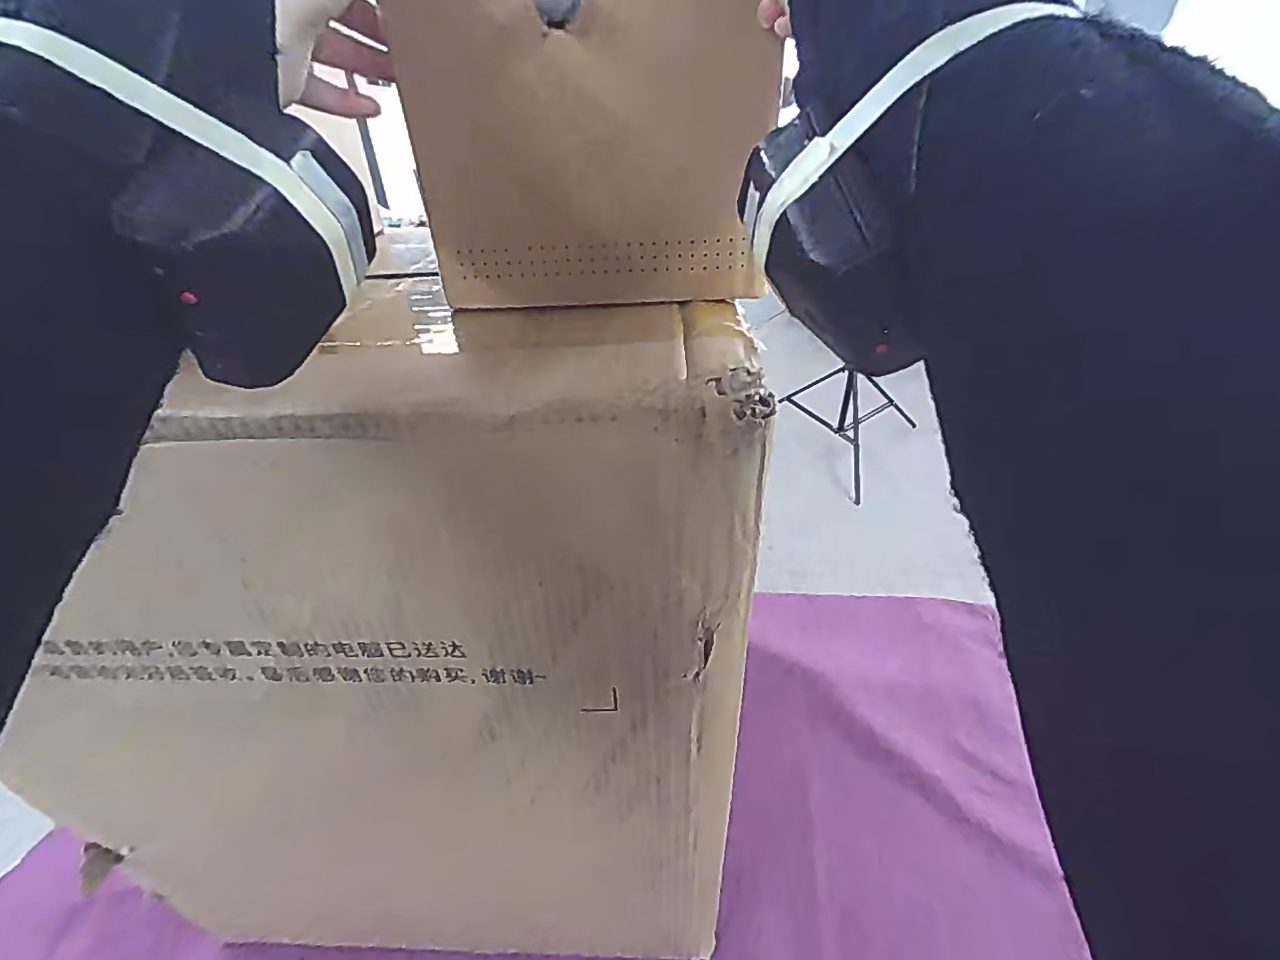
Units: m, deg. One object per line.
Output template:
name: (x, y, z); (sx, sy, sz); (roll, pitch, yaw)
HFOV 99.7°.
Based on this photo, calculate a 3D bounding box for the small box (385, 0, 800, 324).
small box: (-0.012, -0.199, 0.316); (0.179, 0.176, 0.168); (-1, 34, 5)
